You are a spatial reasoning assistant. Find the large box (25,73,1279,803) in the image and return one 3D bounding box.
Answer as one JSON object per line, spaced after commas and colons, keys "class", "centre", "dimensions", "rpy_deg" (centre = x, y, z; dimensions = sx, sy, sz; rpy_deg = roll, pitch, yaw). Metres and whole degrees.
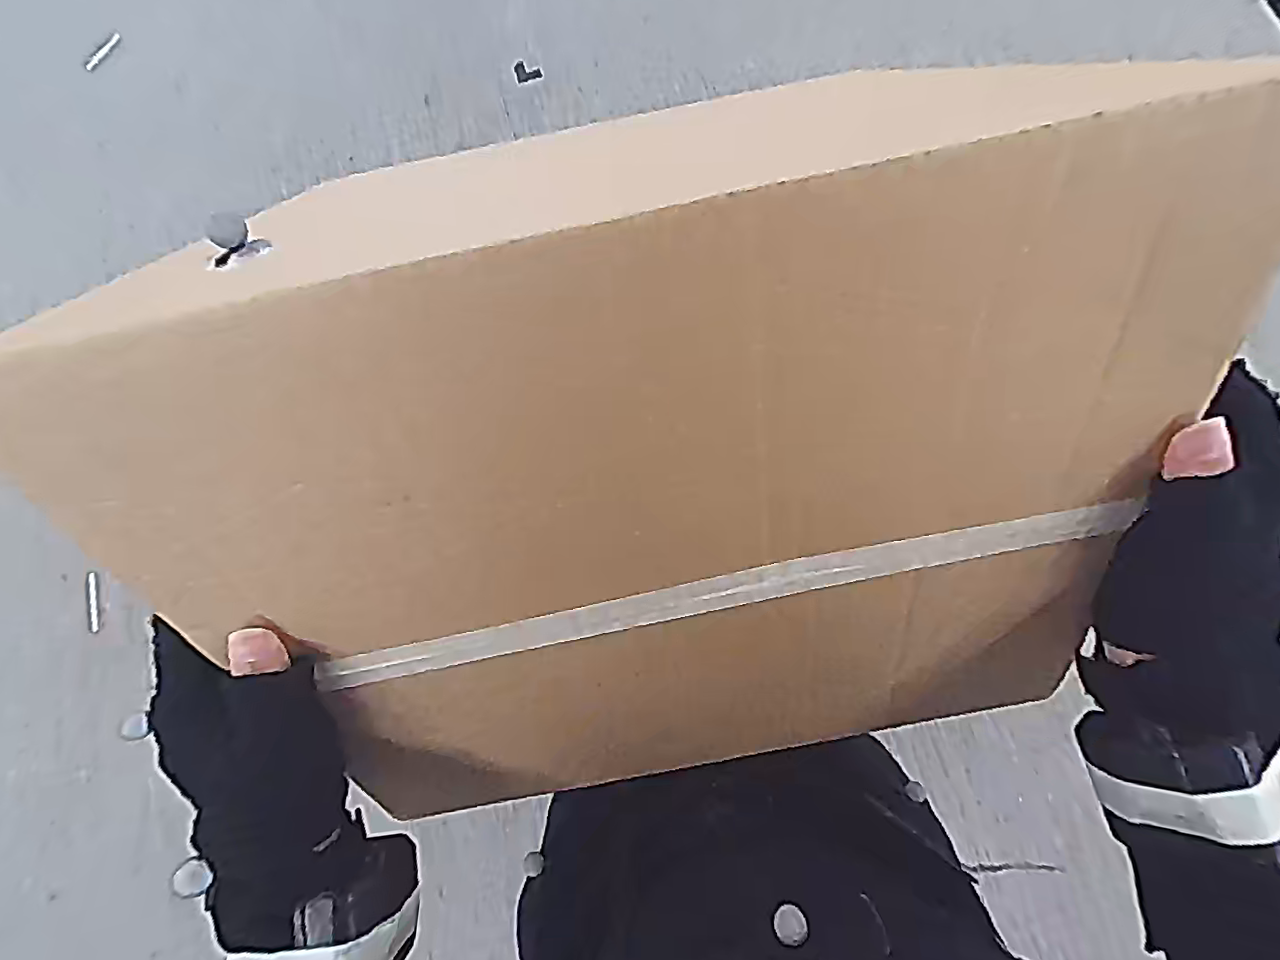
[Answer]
{"class": "large box", "centre": [0.007, -0.041, 0.370], "dimensions": [0.408, 0.320, 0.320], "rpy_deg": [-12, 37, 1]}
